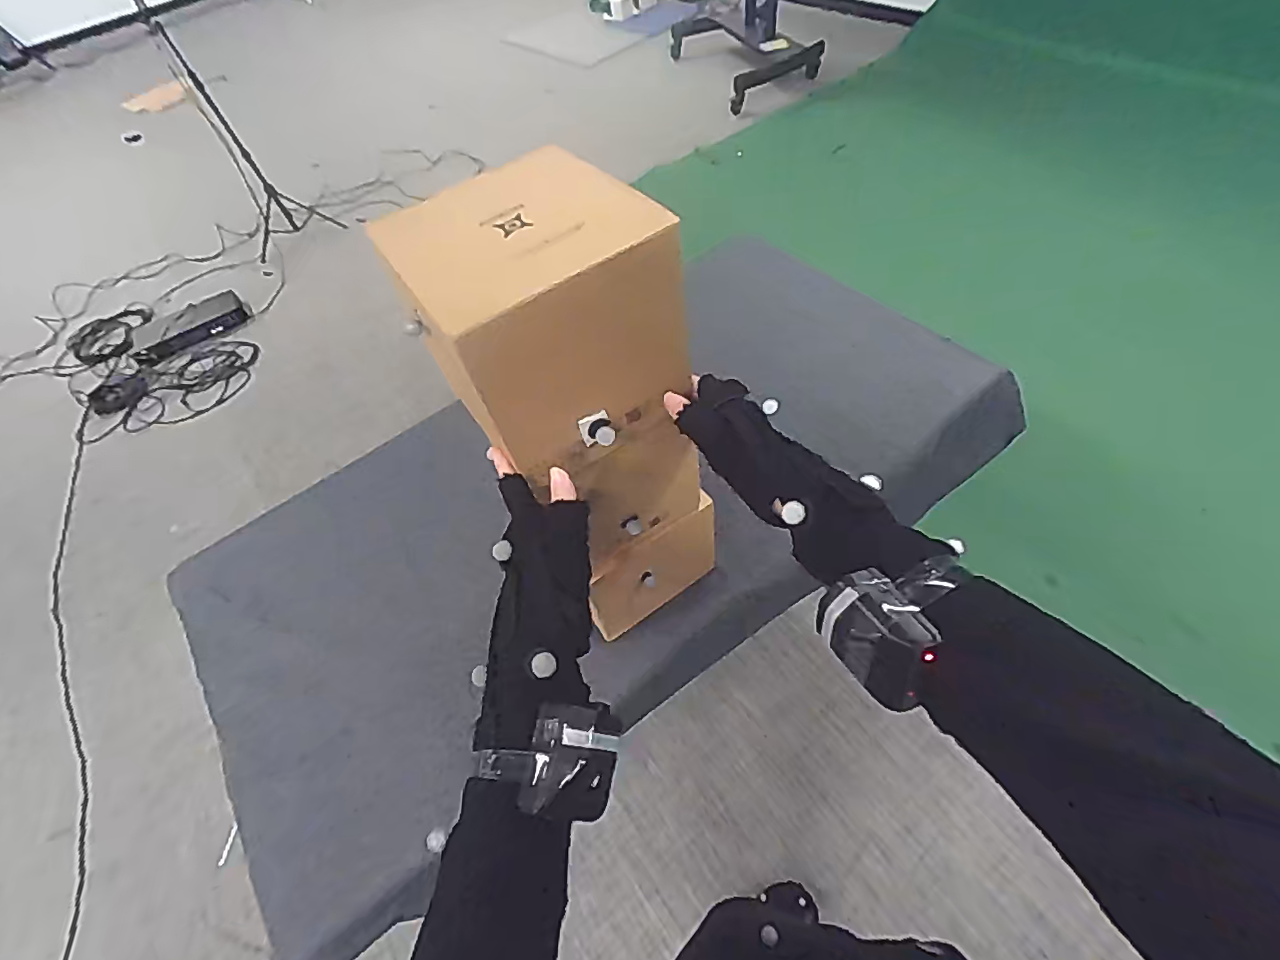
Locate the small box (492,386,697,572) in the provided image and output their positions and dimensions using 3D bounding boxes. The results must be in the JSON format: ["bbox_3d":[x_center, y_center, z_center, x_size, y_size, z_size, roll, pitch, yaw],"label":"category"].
[{"bbox_3d":[-0.057,-0.037,0.567,0.168,0.176,0.179,-33,54,-14],"label":"small box"}]

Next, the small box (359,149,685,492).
[{"bbox_3d":[-0.082,-0.124,0.433,0.168,0.176,0.179,-34,57,-13],"label":"small box"}]

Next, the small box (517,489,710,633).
[{"bbox_3d":[-0.024,0.066,0.693,0.179,0.176,0.168,-34,57,-13],"label":"small box"}]
